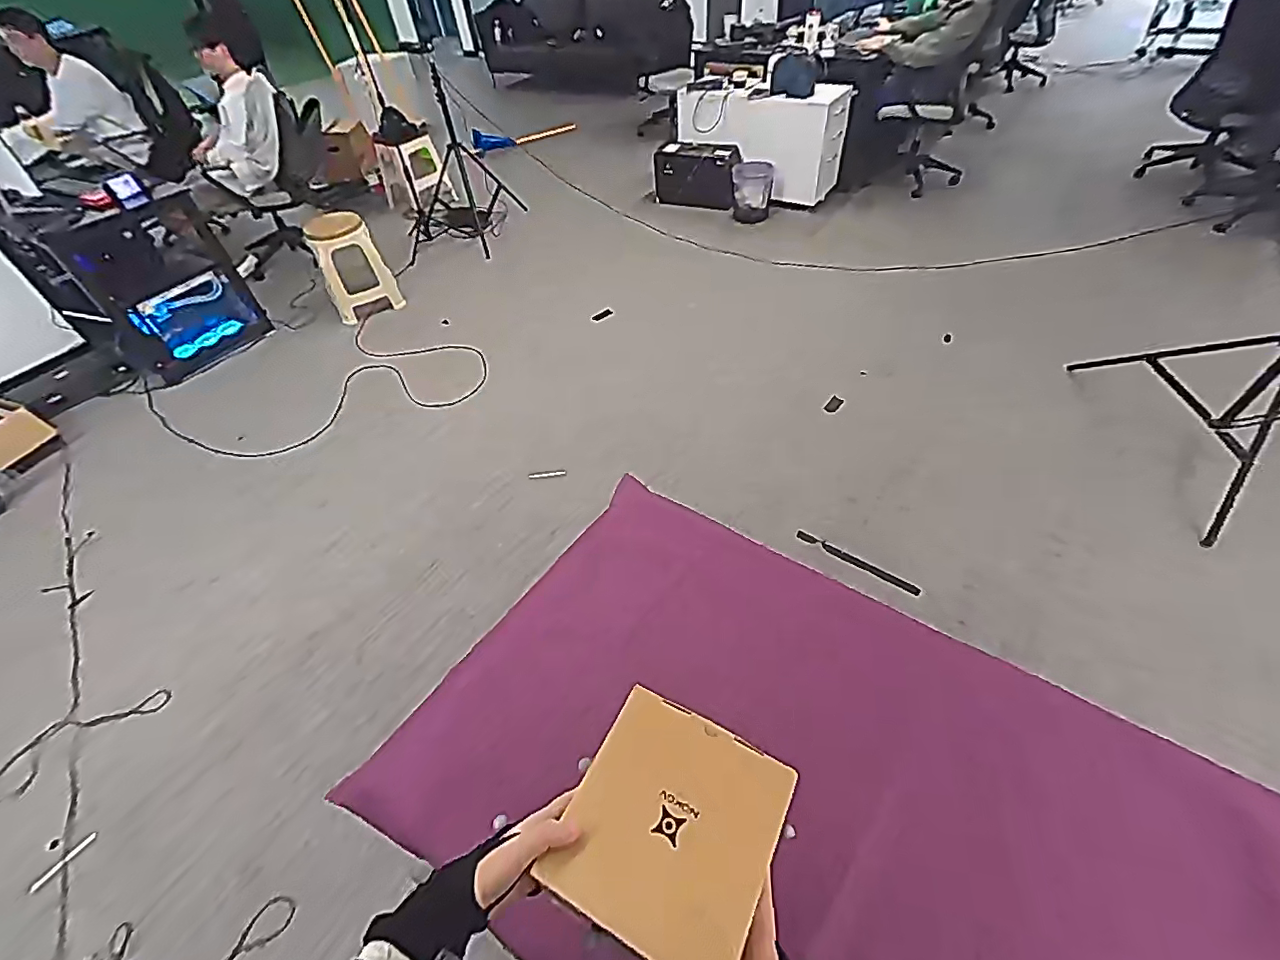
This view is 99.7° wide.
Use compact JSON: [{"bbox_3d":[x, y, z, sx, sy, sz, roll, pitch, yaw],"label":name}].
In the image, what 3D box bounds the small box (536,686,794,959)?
[{"bbox_3d":[0.027,0.341,0.513,0.168,0.176,0.179,21,48,19],"label":"small box"}]
